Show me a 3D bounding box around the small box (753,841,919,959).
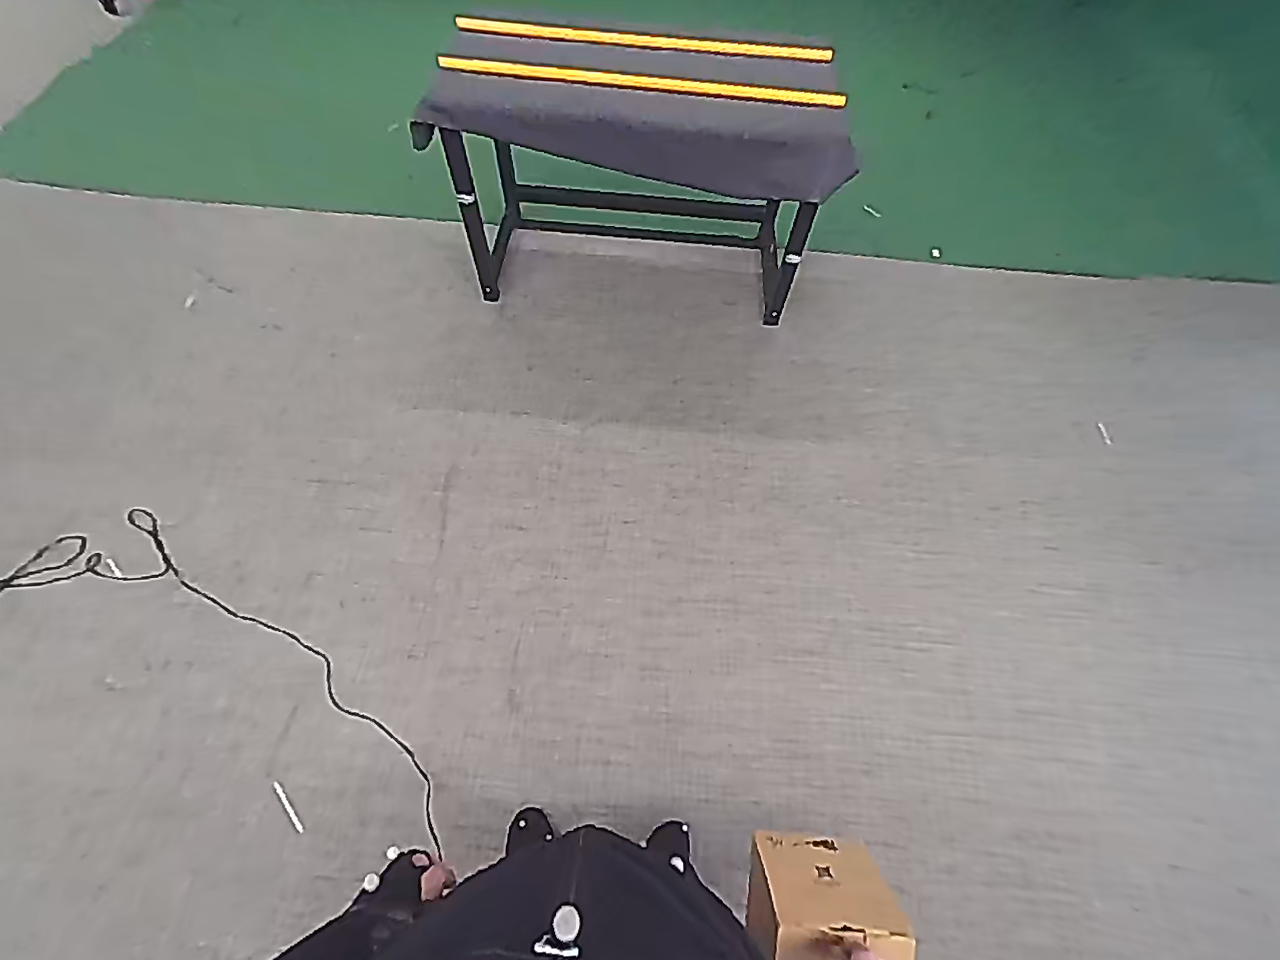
[{"bbox_3d":[0.250,0.625,0.724,0.168,0.179,0.176,1,91,0],"label":"small box"}]
